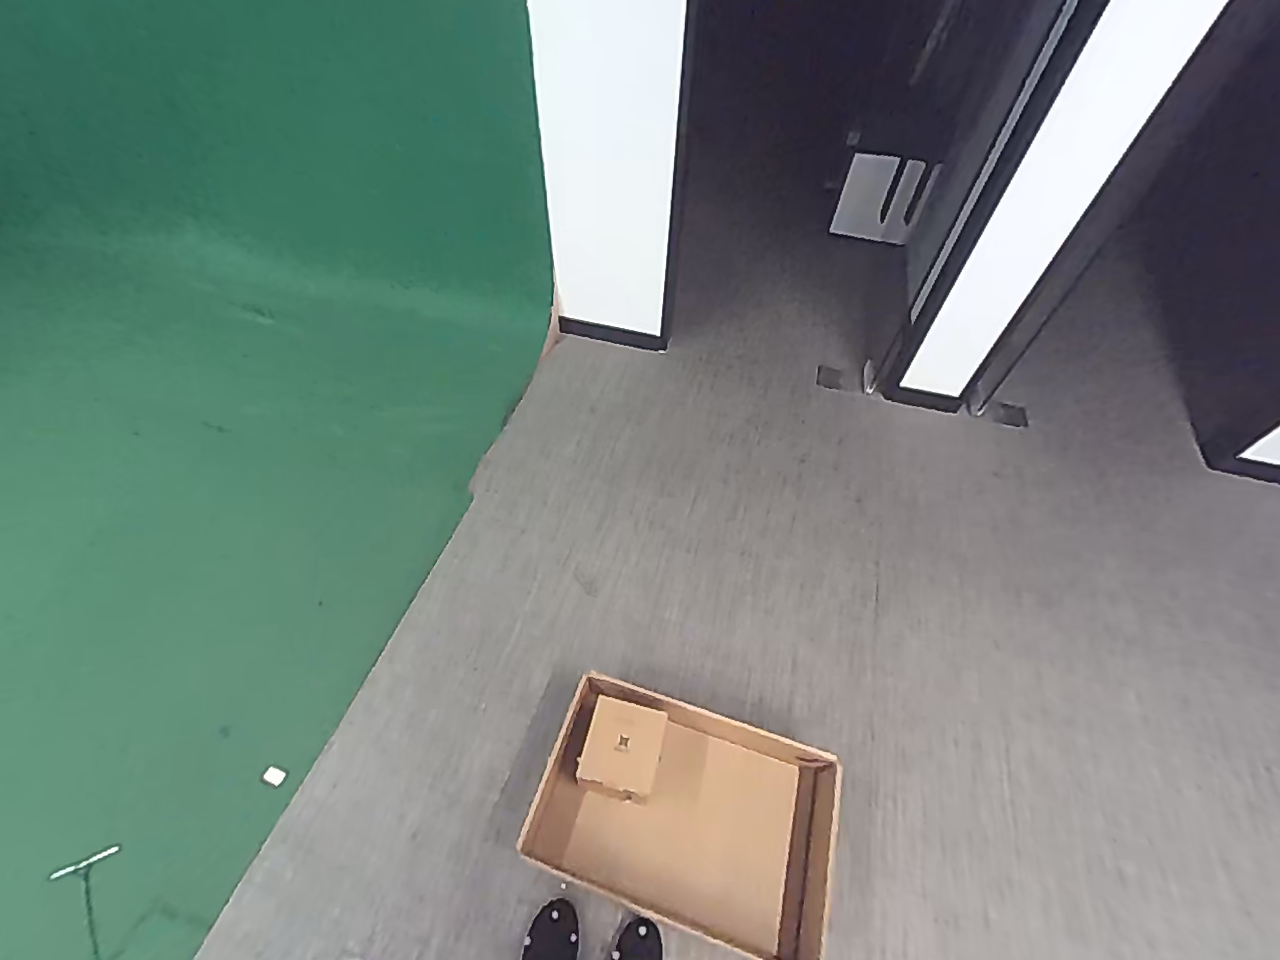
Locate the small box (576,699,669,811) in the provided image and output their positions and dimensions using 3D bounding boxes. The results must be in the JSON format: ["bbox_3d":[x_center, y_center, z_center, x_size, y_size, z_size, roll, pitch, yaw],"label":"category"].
[{"bbox_3d":[-0.035,0.631,1.232,0.168,0.176,0.179,13,54,8],"label":"small box"}]
